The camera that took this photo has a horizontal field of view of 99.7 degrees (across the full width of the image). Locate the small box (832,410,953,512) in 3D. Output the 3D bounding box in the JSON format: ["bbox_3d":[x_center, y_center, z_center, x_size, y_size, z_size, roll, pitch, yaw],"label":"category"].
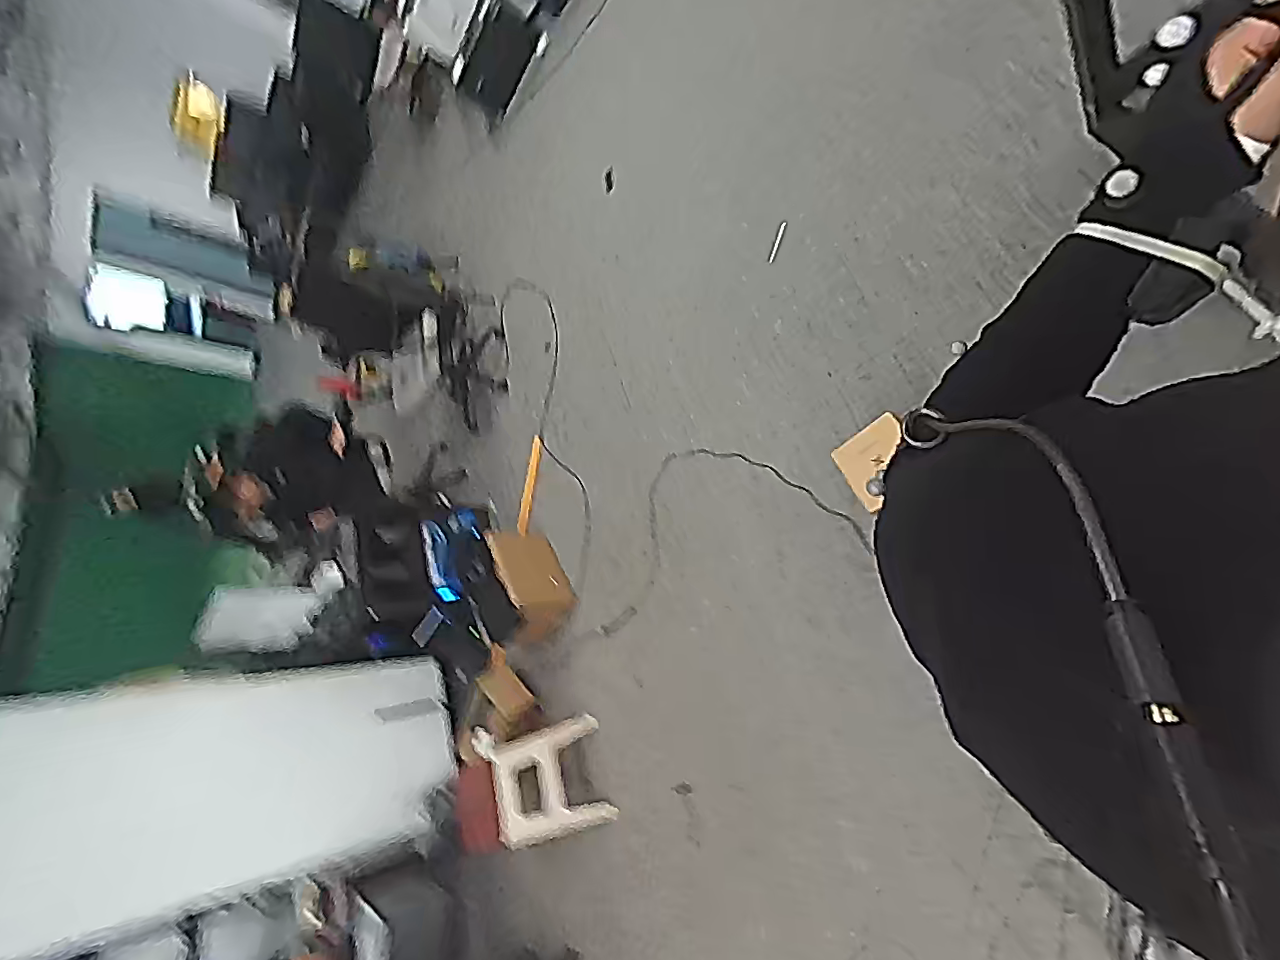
[{"bbox_3d":[0.596,-0.036,1.270,0.168,0.176,0.179,-42,55,32],"label":"small box"}]
